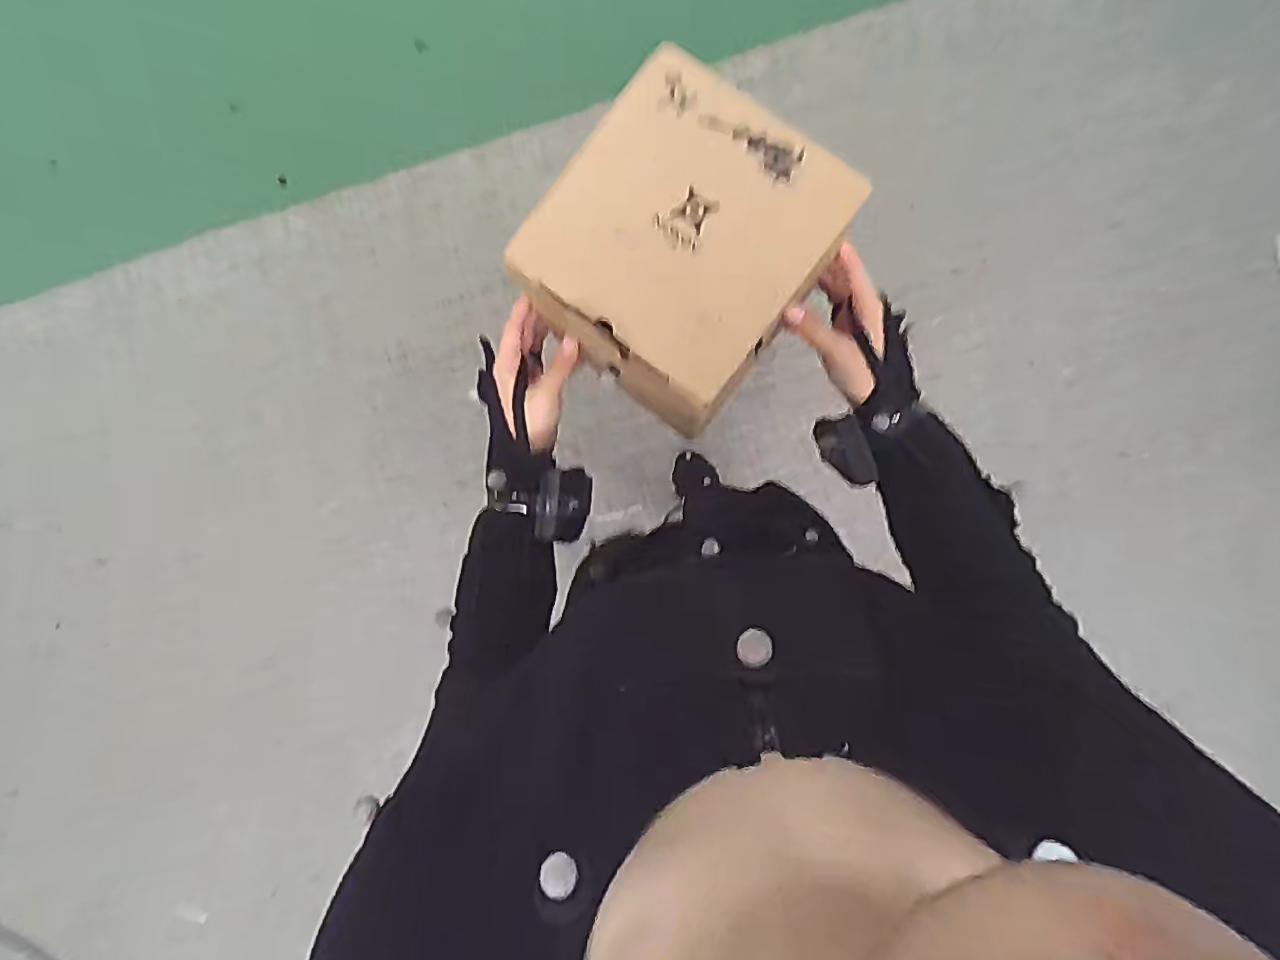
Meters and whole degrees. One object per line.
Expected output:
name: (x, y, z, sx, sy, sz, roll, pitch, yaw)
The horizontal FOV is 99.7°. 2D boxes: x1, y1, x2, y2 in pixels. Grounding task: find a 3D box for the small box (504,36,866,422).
small box: (0.033, -0.164, 0.419, 0.168, 0.176, 0.179, 37, 91, 4)
